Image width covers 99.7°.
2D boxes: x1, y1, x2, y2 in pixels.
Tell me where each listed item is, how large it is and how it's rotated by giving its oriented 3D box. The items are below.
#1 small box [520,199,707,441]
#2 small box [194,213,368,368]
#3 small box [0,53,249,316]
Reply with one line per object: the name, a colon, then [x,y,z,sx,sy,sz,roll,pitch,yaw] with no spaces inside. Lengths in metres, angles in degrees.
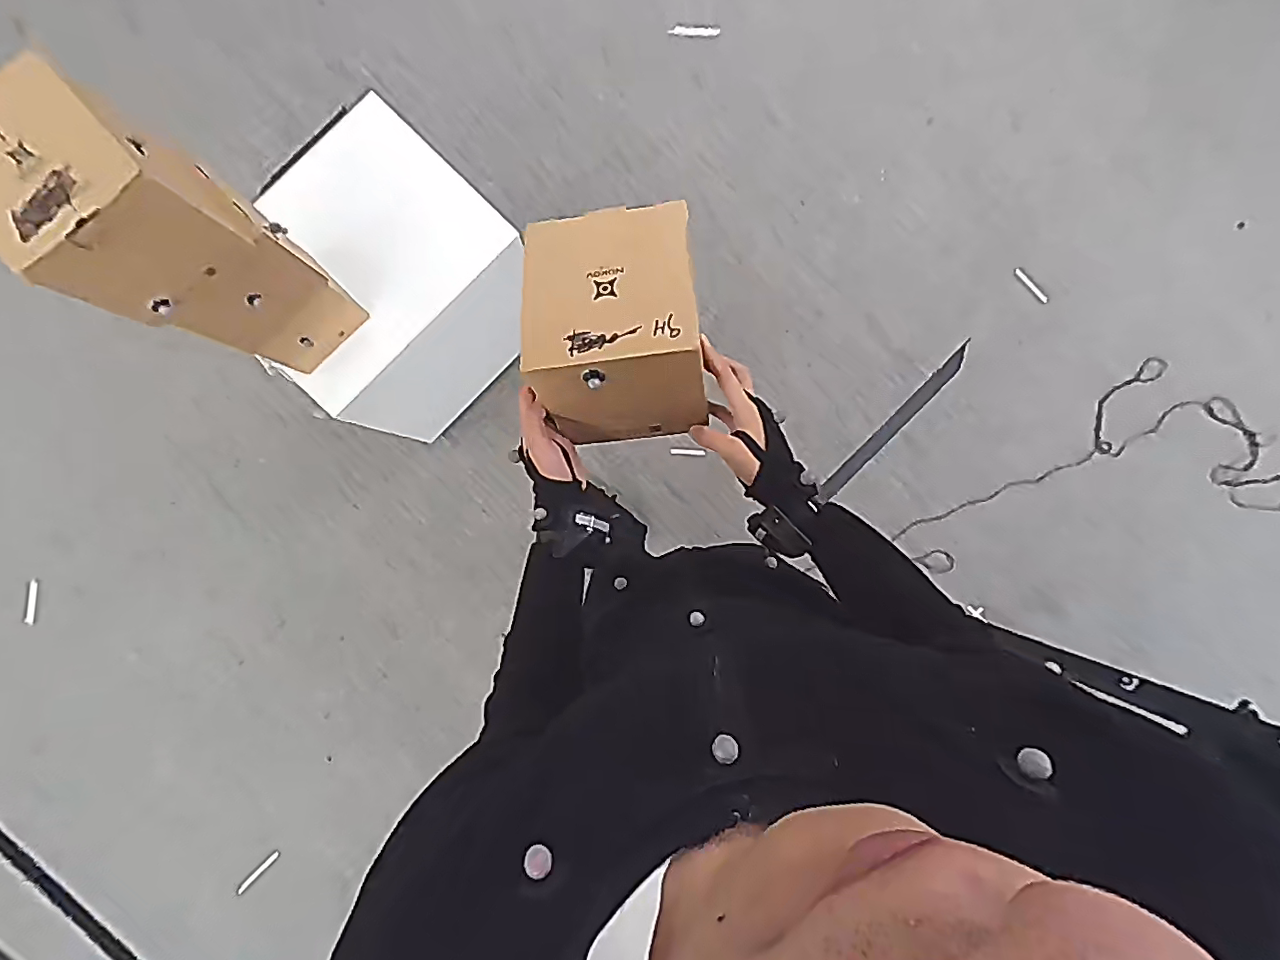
small box: [-0.018,-0.159,0.580,0.168,0.176,0.179,-5,69,8]
small box: [-0.624,-0.316,0.950,0.179,0.176,0.168,45,87,-1]
small box: [-0.611,-0.312,0.621,0.168,0.176,0.179,-42,90,-2]
